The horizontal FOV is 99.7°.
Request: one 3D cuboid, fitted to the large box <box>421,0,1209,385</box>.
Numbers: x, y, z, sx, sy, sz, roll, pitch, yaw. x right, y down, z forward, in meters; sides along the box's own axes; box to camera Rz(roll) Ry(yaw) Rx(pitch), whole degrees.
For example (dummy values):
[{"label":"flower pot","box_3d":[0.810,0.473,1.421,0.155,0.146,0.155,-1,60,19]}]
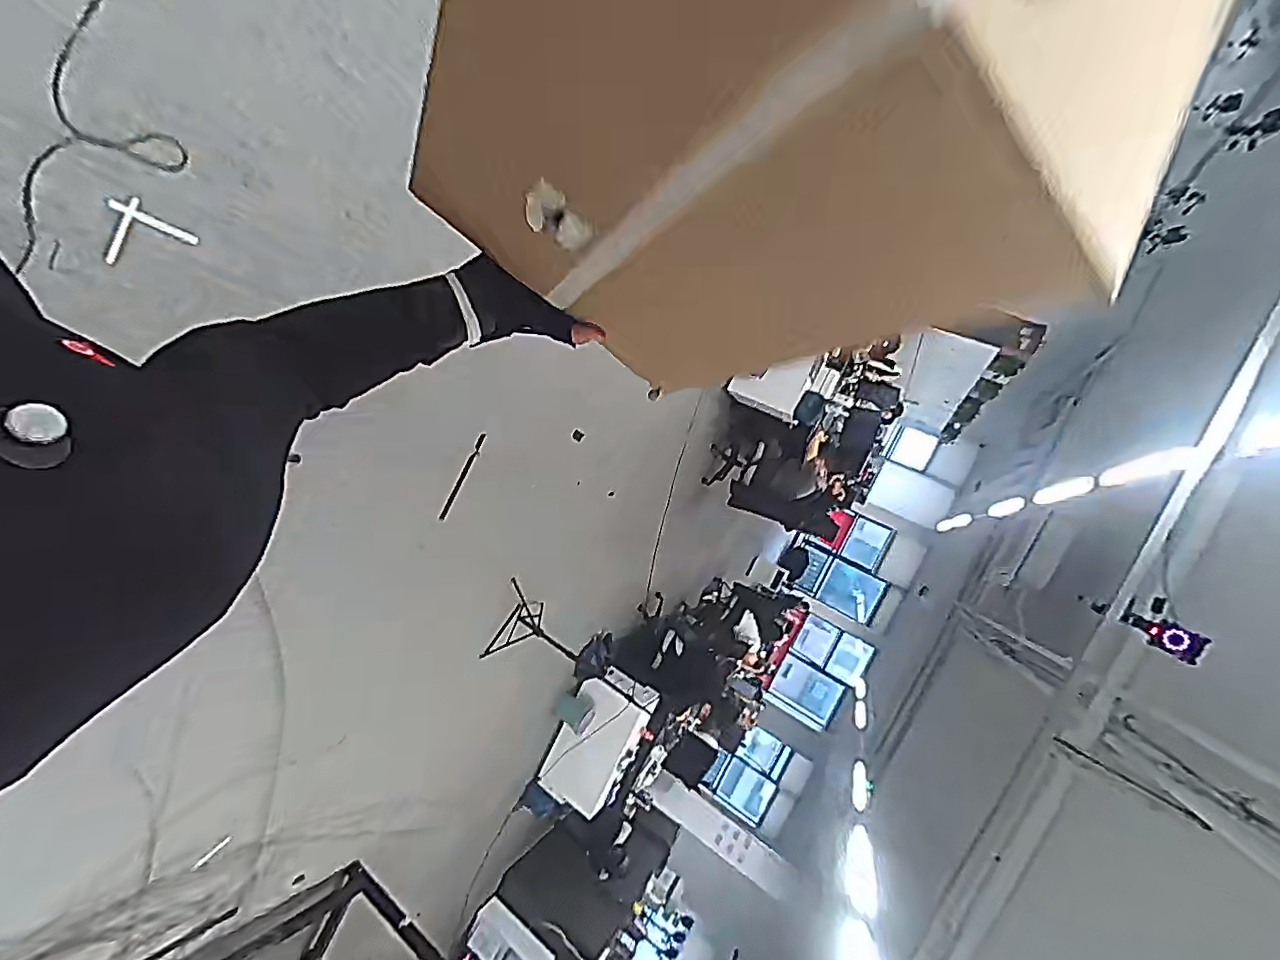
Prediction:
[{"label":"large box","box_3d":[0.078,-0.298,0.395,0.320,0.408,0.320,38,78,-25]}]
